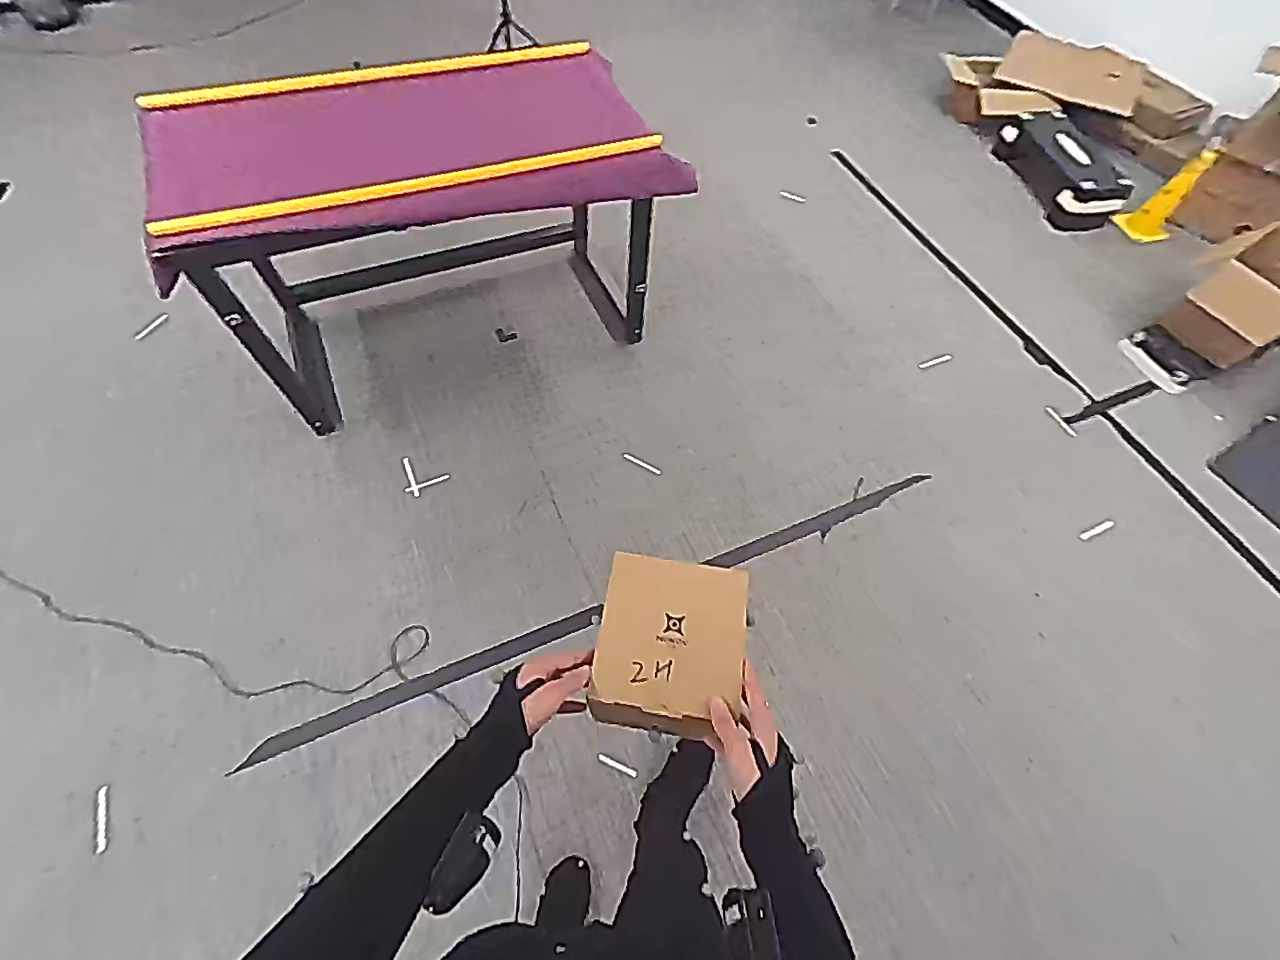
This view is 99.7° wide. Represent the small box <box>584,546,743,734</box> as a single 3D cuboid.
[{"bbox_3d":[0.030,0.206,0.684,0.168,0.176,0.179,8,59,4],"label":"small box"}]
